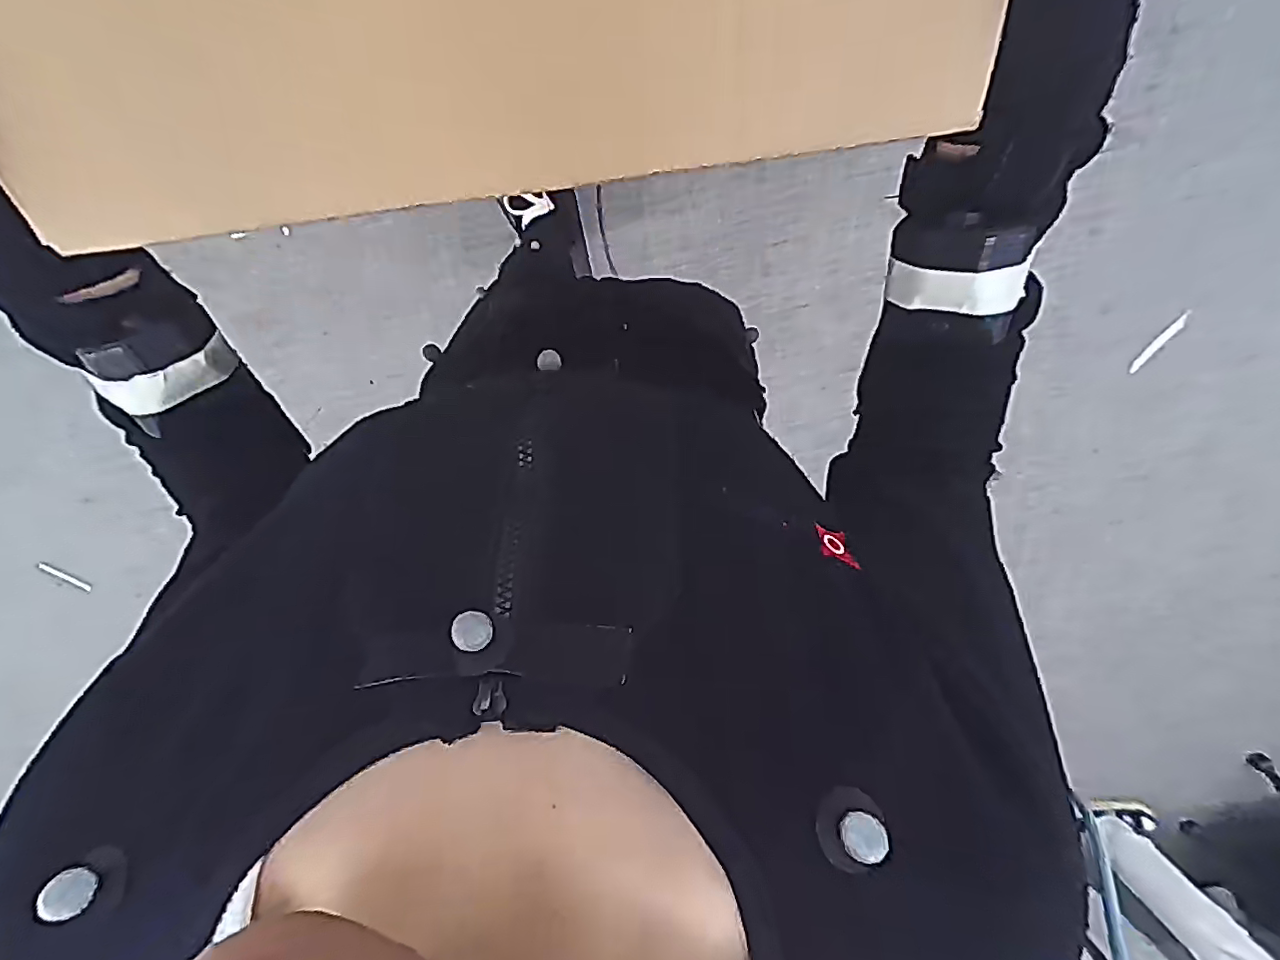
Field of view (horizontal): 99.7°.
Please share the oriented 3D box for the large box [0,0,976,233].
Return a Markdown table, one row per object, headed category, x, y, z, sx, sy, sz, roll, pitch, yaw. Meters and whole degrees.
| category | x | y | z | sx | sy | sz | roll | pitch | yaw |
| --- | --- | --- | --- | --- | --- | --- | --- | --- | --- |
| large box | -0.087 | -0.348 | 0.269 | 0.408 | 0.320 | 0.320 | -7 | 127 | 3 |
